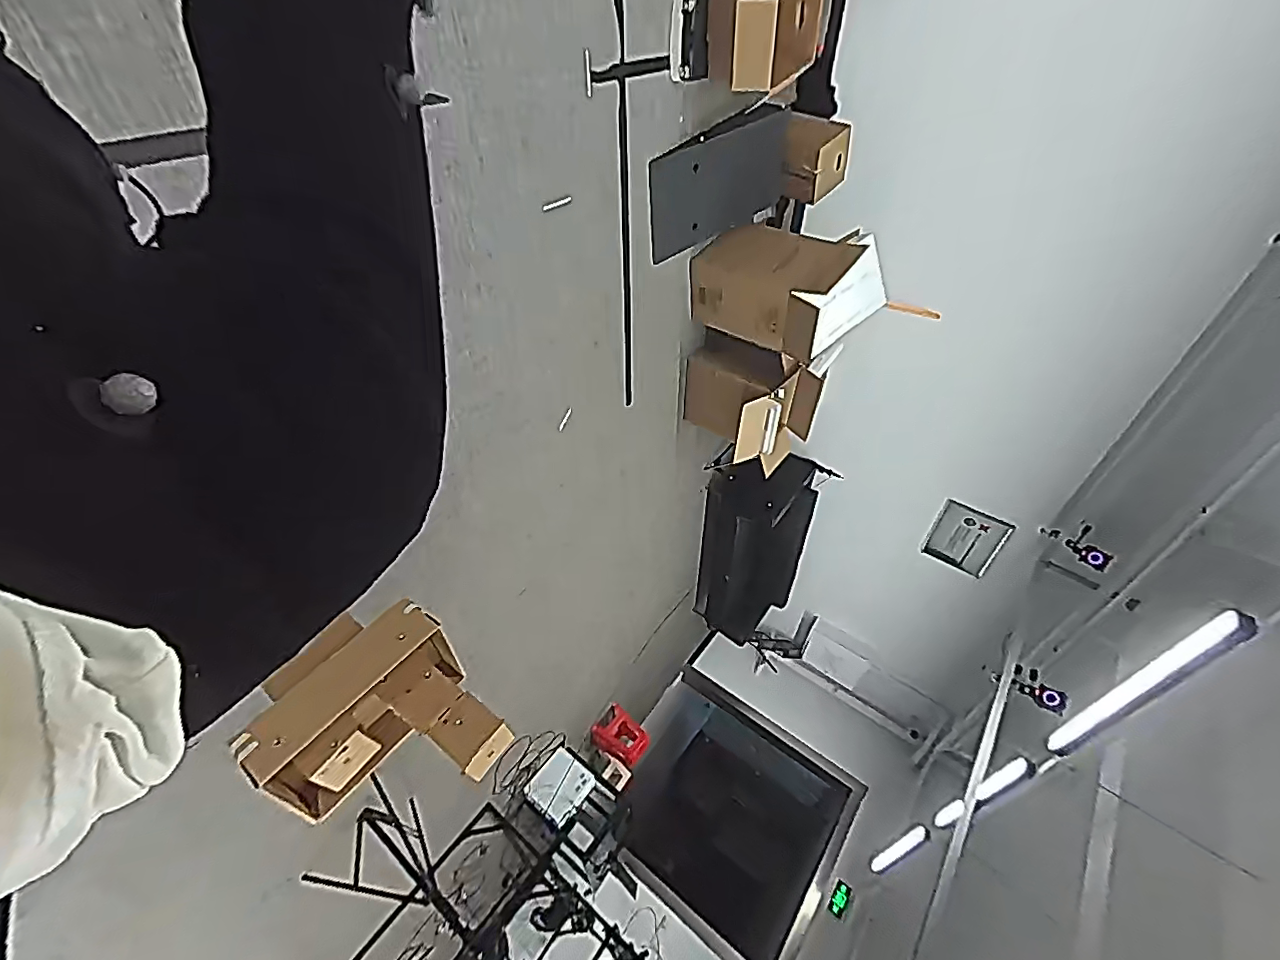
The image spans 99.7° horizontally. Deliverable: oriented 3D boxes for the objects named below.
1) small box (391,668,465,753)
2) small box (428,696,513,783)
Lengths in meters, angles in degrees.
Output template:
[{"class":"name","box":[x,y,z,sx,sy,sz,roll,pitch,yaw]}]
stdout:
[{"class":"small box","box":[-0.672,0.743,1.755,0.168,0.176,0.179,-46,152,-32]},{"class":"small box","box":[-0.531,0.812,1.700,0.168,0.176,0.179,-47,153,-30]}]
